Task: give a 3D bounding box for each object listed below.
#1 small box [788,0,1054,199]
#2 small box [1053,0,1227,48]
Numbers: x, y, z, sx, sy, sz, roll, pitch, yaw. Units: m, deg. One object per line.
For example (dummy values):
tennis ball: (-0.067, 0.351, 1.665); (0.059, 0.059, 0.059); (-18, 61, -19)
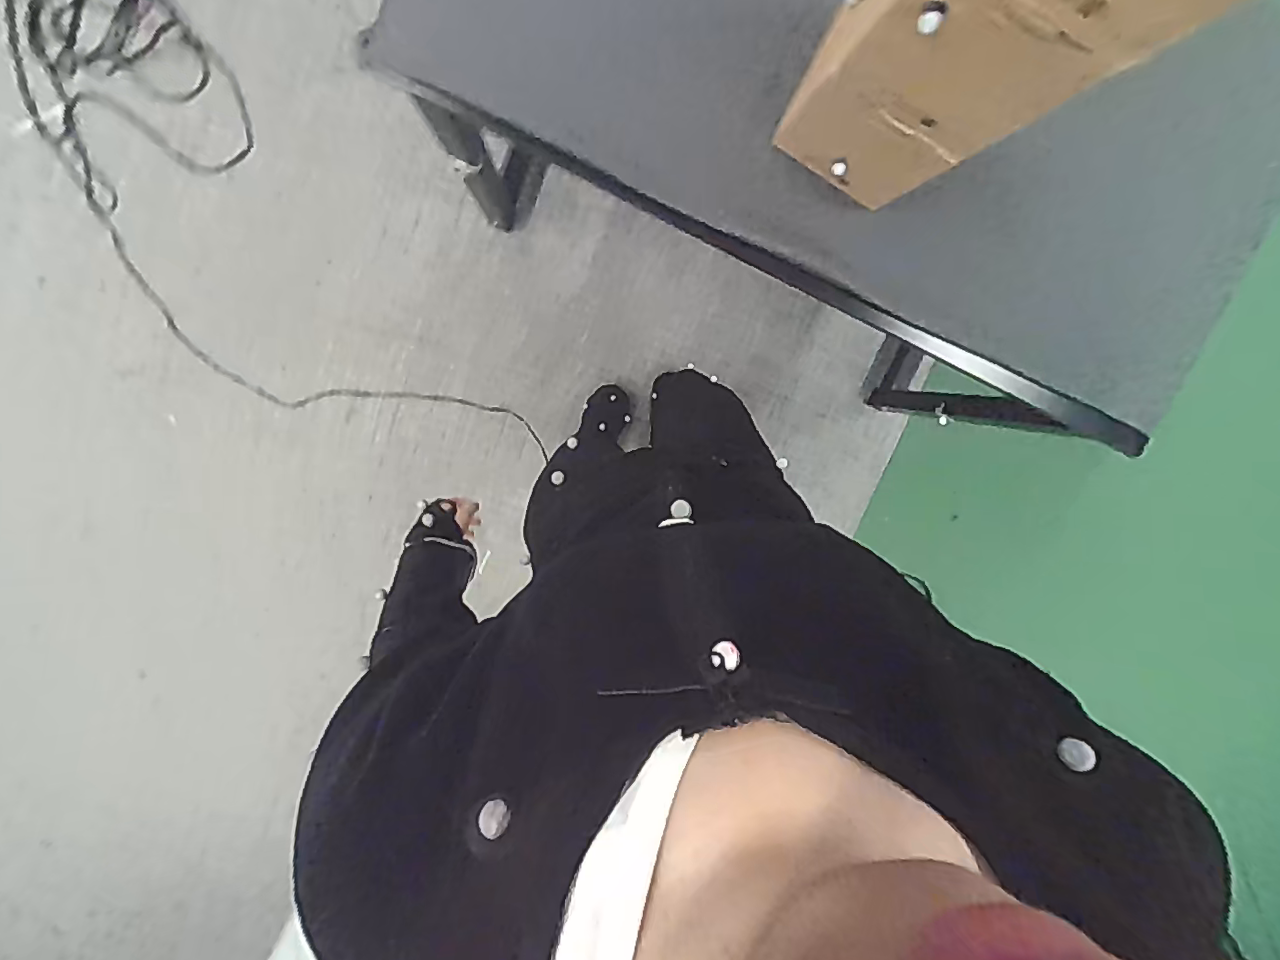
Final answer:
small box: (0.296, -0.460, 0.609); (0.168, 0.176, 0.179); (27, 97, -11)
small box: (0.332, -0.401, 0.290); (0.168, 0.176, 0.179); (22, 97, -10)
